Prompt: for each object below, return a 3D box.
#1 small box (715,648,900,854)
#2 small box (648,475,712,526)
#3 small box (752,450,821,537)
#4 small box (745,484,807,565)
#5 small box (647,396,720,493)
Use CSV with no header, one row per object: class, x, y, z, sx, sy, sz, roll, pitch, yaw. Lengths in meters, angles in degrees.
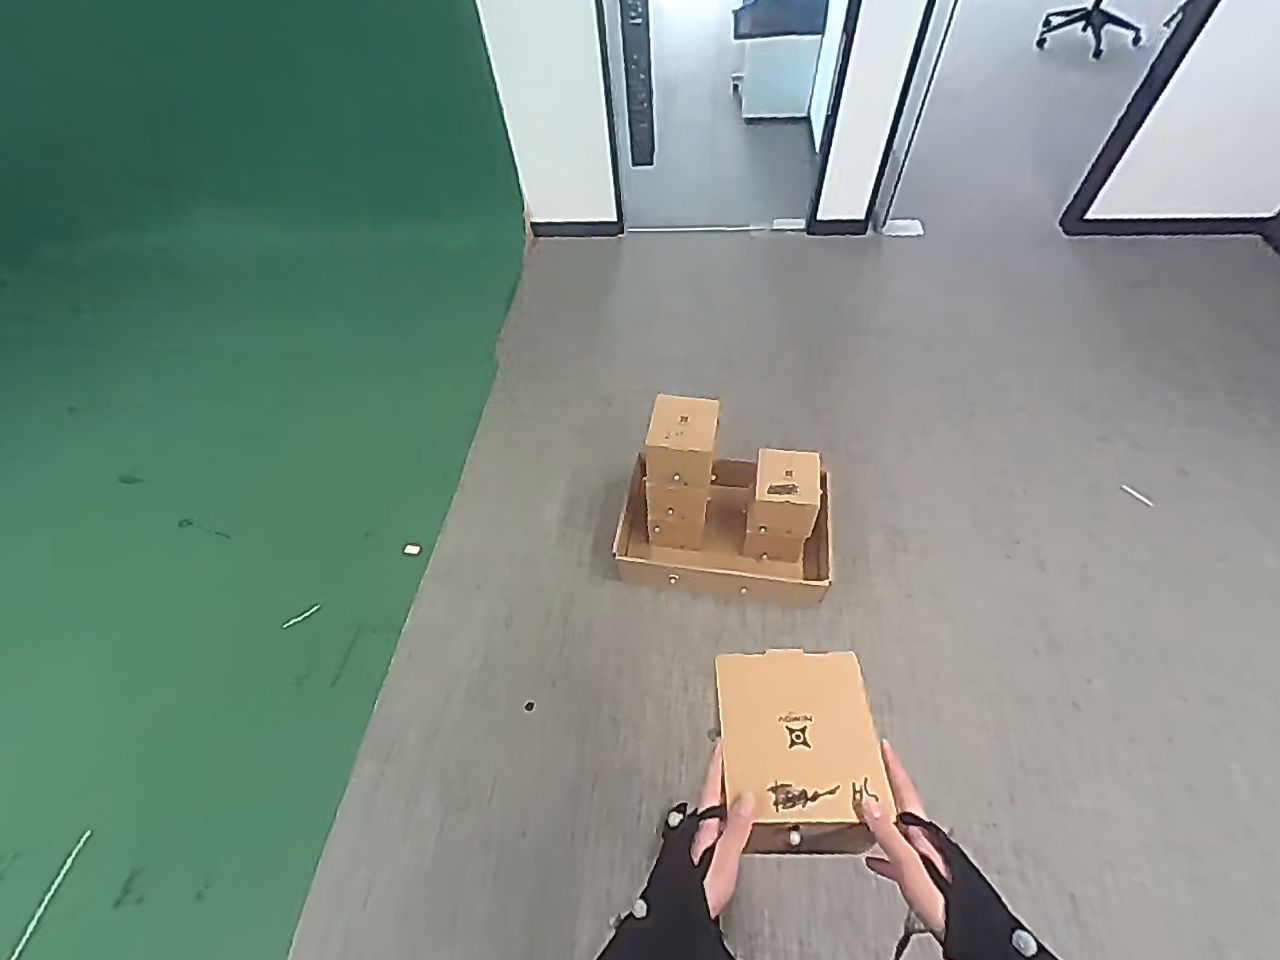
small box,0.176,0.316,0.634,0.168,0.176,0.179,-3,47,5
small box,0.118,0.007,1.548,0.168,0.176,0.179,7,55,8
small box,0.403,0.040,1.498,0.168,0.176,0.179,5,54,10
small box,0.408,0.135,1.633,0.168,0.176,0.179,5,56,10
small box,0.114,-0.092,1.417,0.168,0.176,0.179,7,55,9
